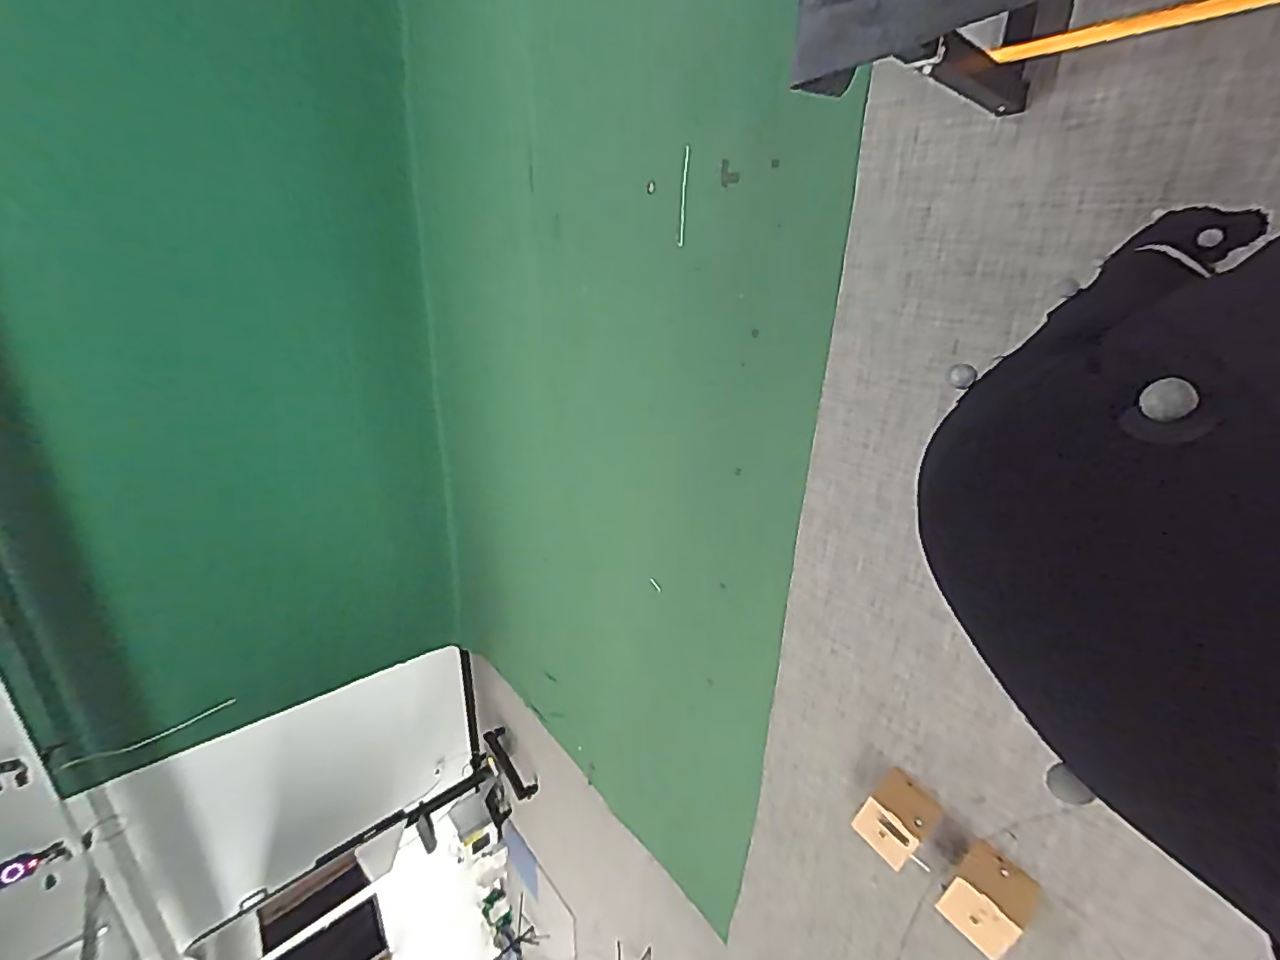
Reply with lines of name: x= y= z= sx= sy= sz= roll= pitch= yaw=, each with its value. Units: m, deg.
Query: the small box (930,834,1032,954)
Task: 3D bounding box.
small box: x=0.960 y=1.154 z=1.519 sx=0.168 sy=0.176 sz=0.179 roll=33 pitch=125 yaw=39
